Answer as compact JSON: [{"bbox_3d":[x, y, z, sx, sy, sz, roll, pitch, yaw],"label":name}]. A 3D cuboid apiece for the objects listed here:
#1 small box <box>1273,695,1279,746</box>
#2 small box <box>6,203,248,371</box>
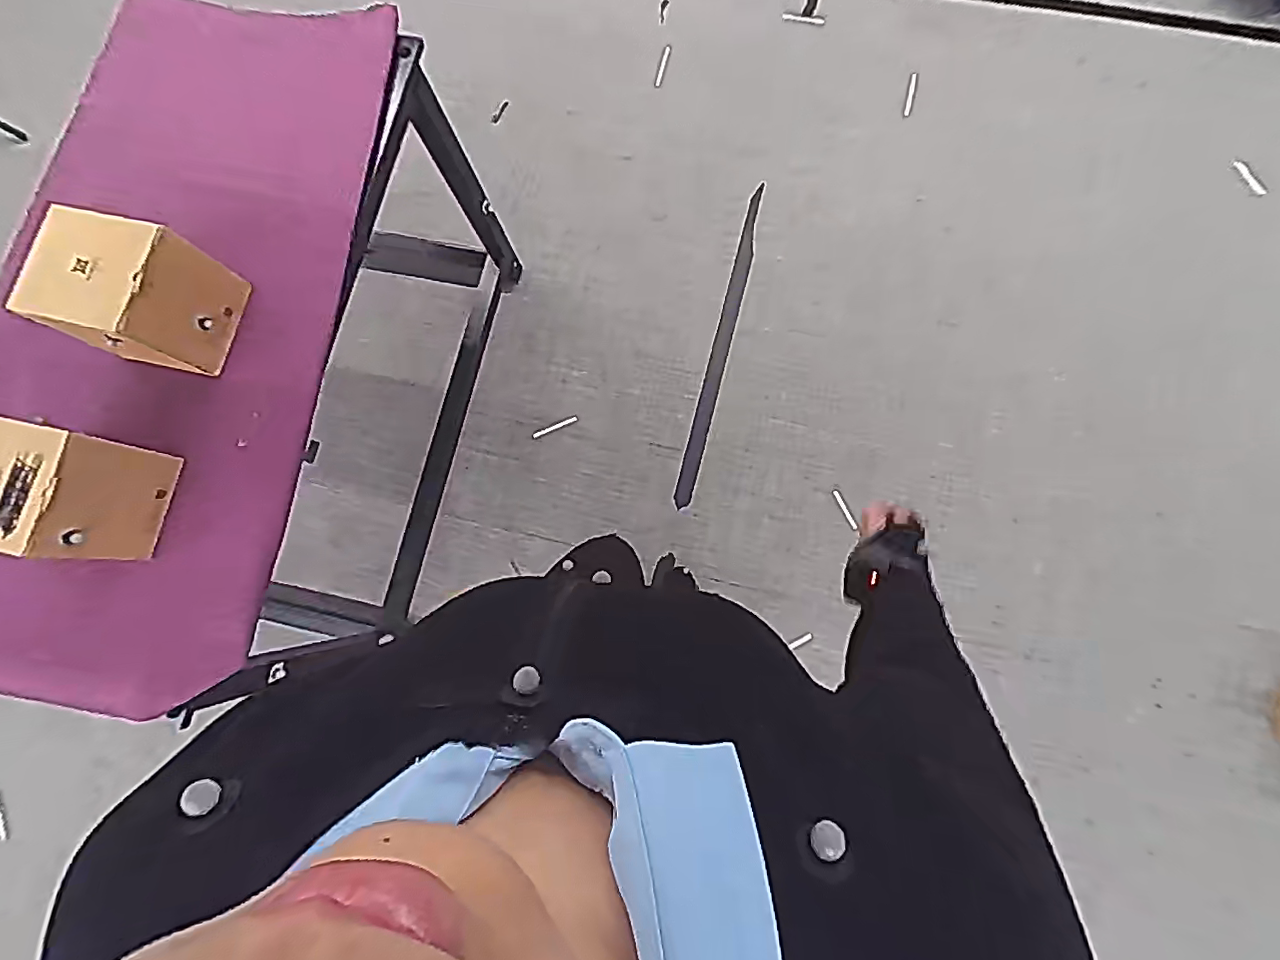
[{"bbox_3d":[1.671,0.590,1.273,0.179,0.176,0.168,16,81,5],"label":"small box"},{"bbox_3d":[-0.757,-0.280,0.819,0.179,0.176,0.168,12,81,5],"label":"small box"}]
